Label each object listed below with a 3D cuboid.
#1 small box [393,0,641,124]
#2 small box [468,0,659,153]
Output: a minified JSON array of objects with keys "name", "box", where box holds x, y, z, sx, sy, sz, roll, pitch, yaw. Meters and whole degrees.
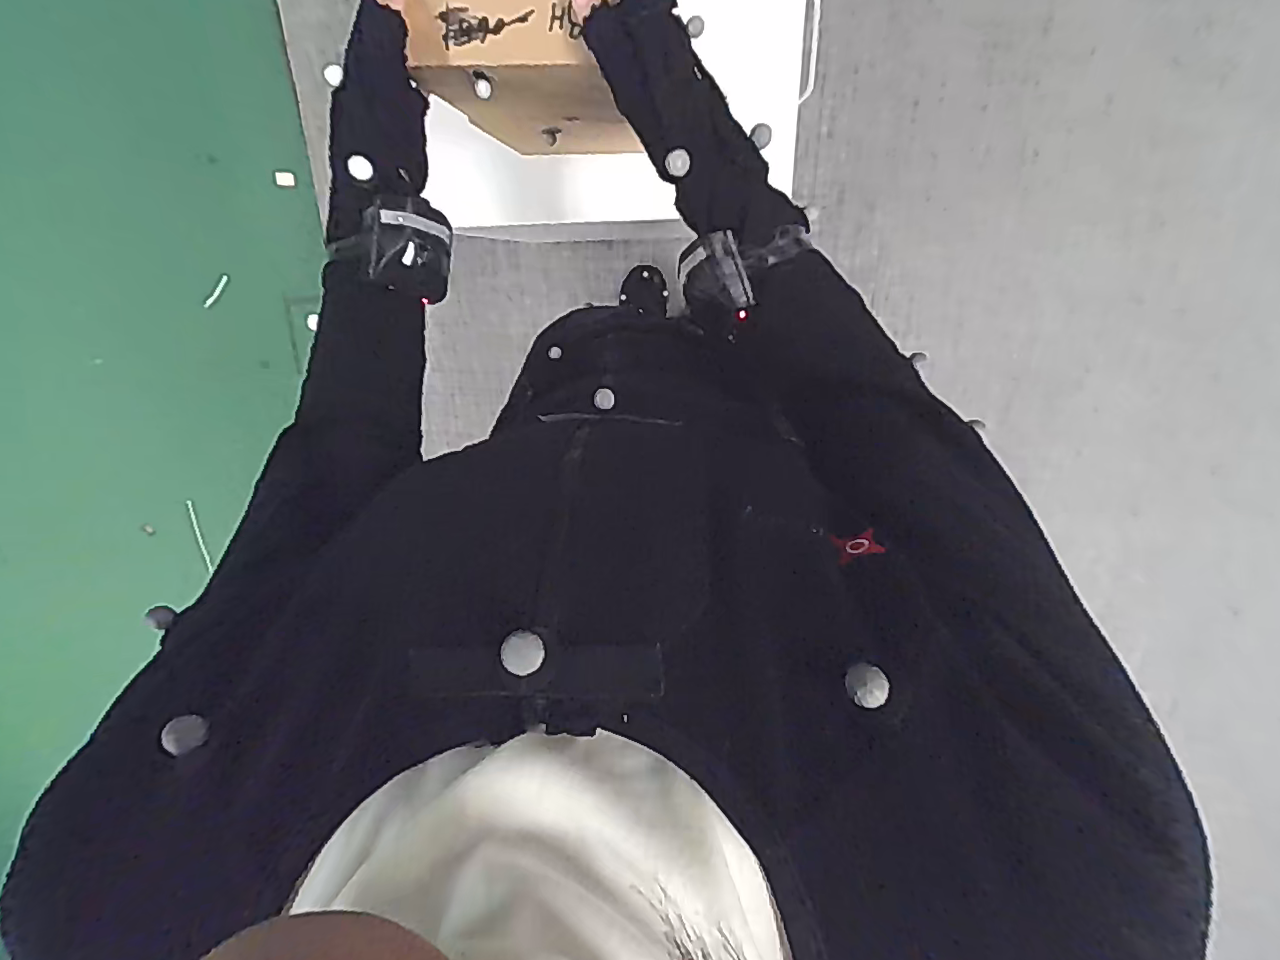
[{"name":"small box","box":[-0.089,-0.411,0.437,0.168,0.176,0.179,1,113,6]},{"name":"small box","box":[-0.077,-0.465,0.587,0.179,0.176,0.168,3,111,6]}]
